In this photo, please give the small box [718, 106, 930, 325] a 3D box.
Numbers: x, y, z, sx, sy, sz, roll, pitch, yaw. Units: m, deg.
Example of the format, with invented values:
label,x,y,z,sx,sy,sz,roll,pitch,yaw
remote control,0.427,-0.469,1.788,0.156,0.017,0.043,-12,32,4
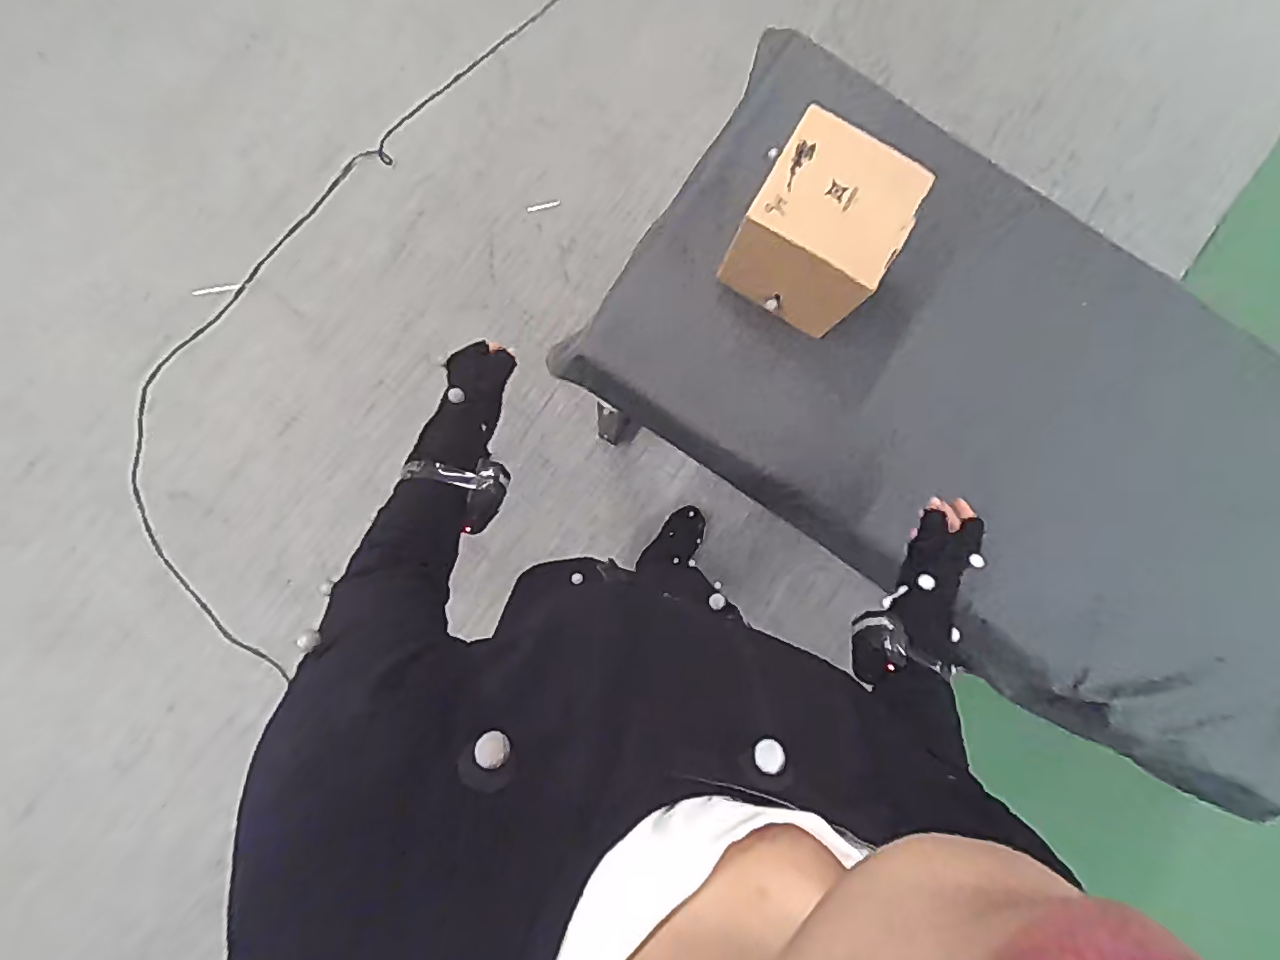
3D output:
label,x,y,z,sx,sy,sz,roll,pitch,yaw
small box,0.229,-0.329,0.717,0.179,0.176,0.168,30,84,-2
